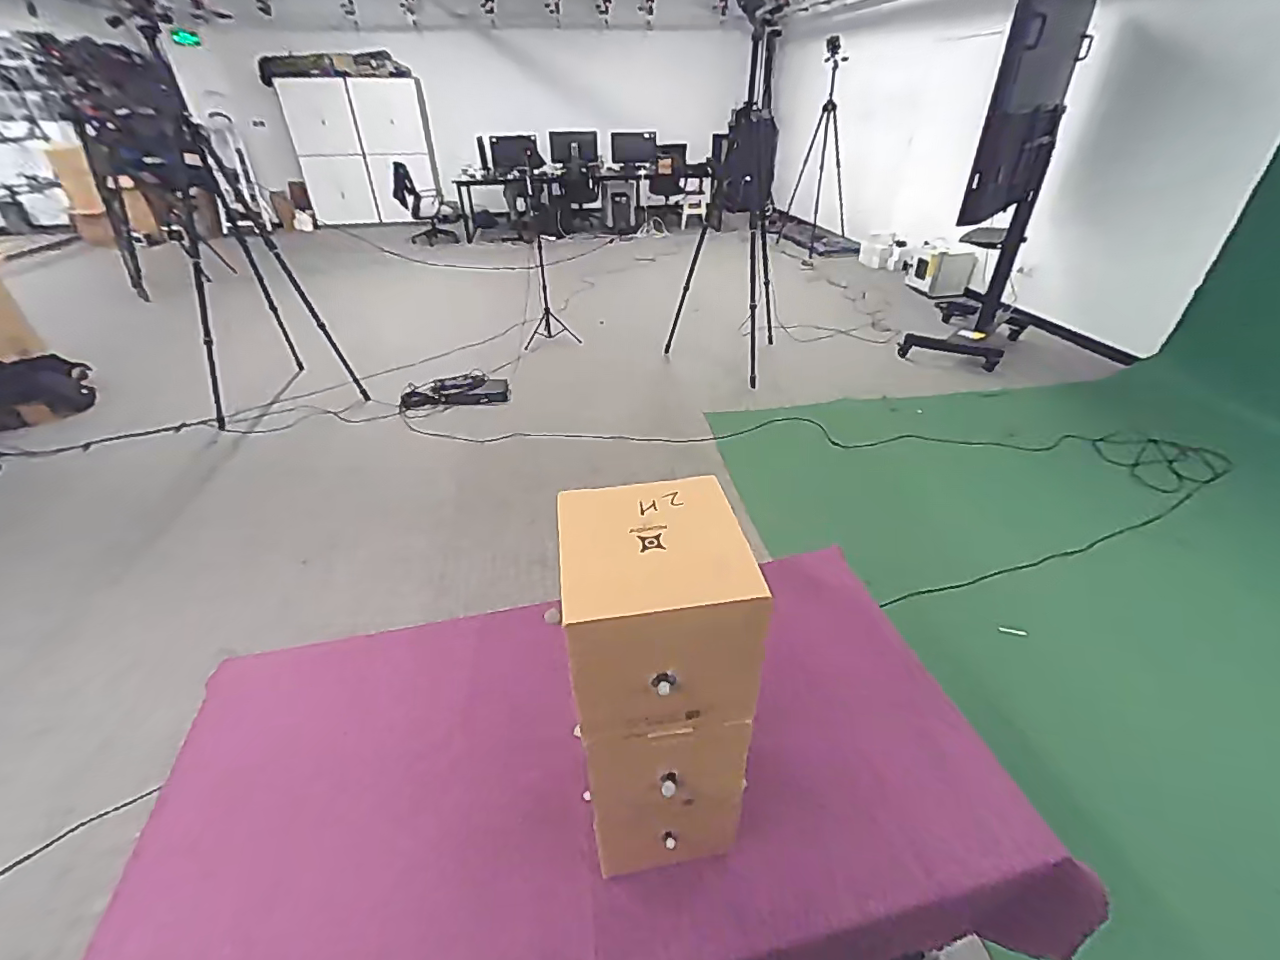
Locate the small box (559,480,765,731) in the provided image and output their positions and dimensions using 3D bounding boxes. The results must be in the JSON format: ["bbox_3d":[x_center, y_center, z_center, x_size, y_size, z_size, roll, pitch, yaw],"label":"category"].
[{"bbox_3d":[0.012,0.123,0.531,0.168,0.176,0.179,-5,34,-6],"label":"small box"}]

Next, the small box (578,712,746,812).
[{"bbox_3d":[0.017,0.258,0.627,0.168,0.176,0.179,-4,35,-5],"label":"small box"}]
